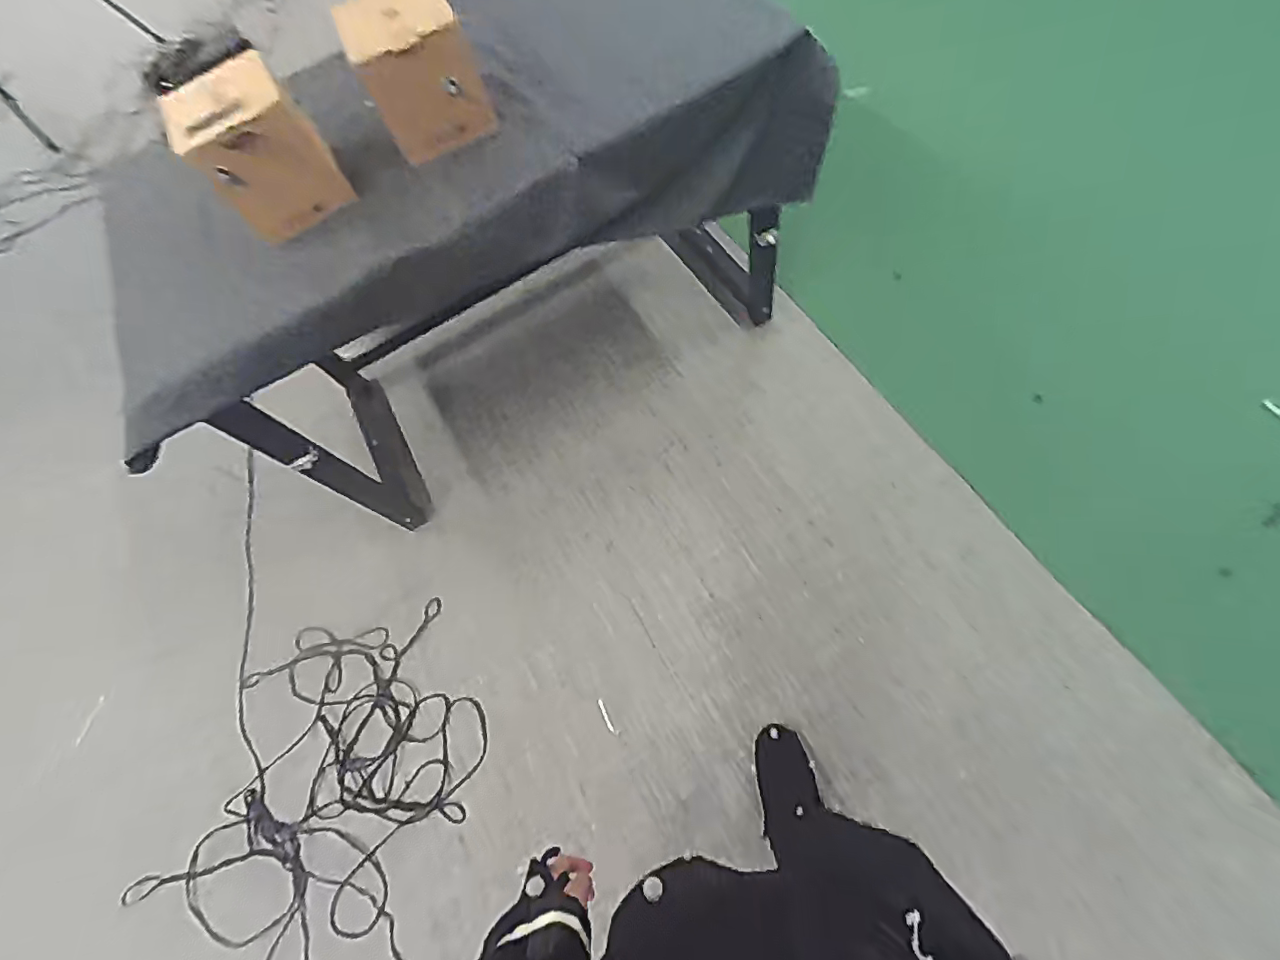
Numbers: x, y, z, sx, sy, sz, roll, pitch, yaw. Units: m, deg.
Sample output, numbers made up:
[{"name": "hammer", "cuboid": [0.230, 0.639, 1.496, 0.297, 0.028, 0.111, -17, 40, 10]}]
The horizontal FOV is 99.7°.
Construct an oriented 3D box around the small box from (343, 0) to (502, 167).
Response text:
[{"name": "small box", "cuboid": [-0.348, -0.651, 0.887, 0.168, 0.176, 0.179, -25, 63, -2]}]
